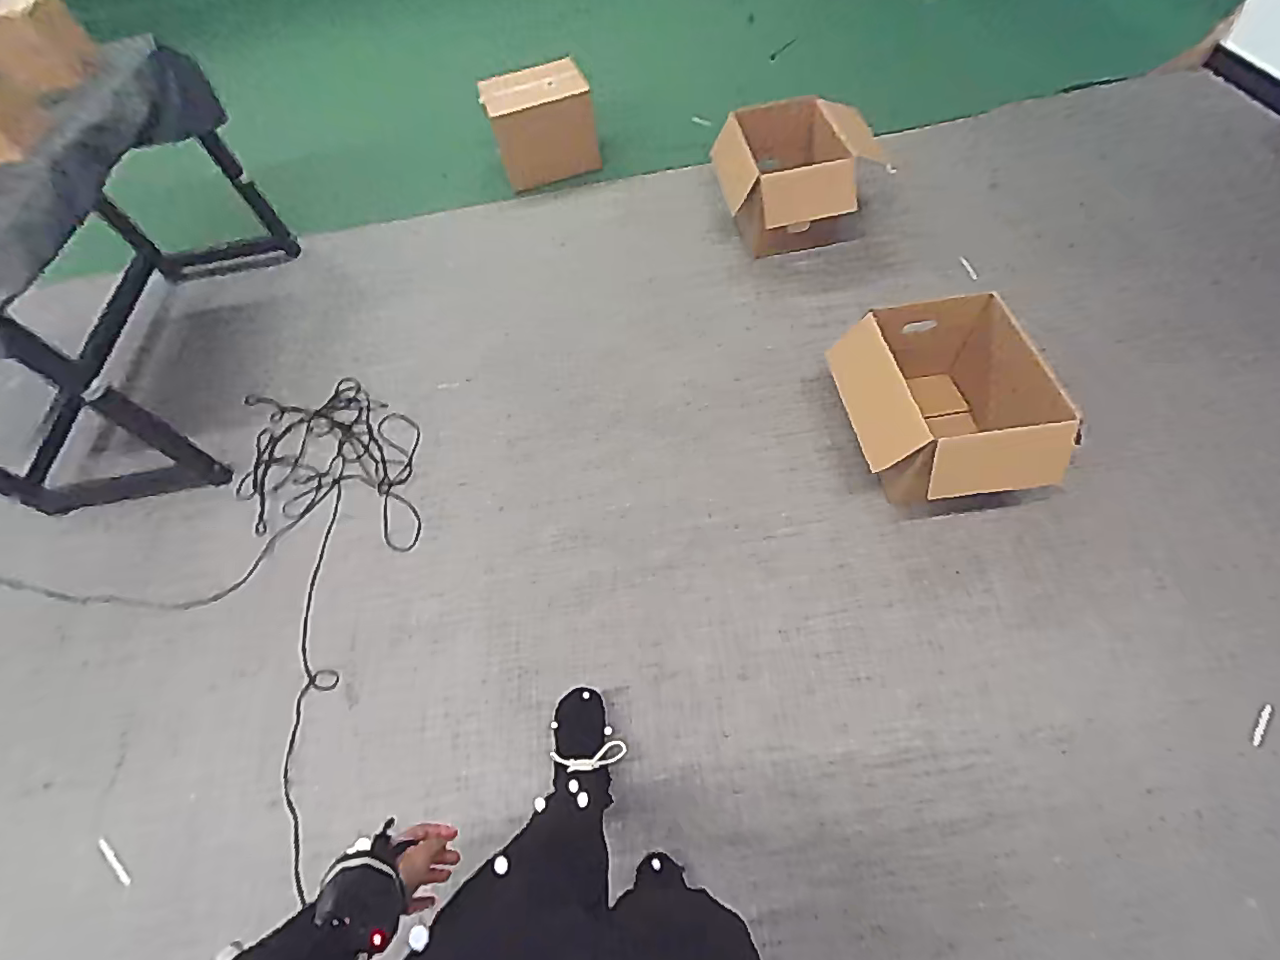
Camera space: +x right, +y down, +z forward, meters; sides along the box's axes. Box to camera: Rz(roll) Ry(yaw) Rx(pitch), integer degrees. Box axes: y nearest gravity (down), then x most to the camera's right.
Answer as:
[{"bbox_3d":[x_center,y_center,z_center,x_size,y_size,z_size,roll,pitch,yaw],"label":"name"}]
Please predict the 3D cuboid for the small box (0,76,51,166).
[{"bbox_3d":[-1.583,-0.865,1.283,0.168,0.176,0.179,-10,58,1],"label":"small box"}]
